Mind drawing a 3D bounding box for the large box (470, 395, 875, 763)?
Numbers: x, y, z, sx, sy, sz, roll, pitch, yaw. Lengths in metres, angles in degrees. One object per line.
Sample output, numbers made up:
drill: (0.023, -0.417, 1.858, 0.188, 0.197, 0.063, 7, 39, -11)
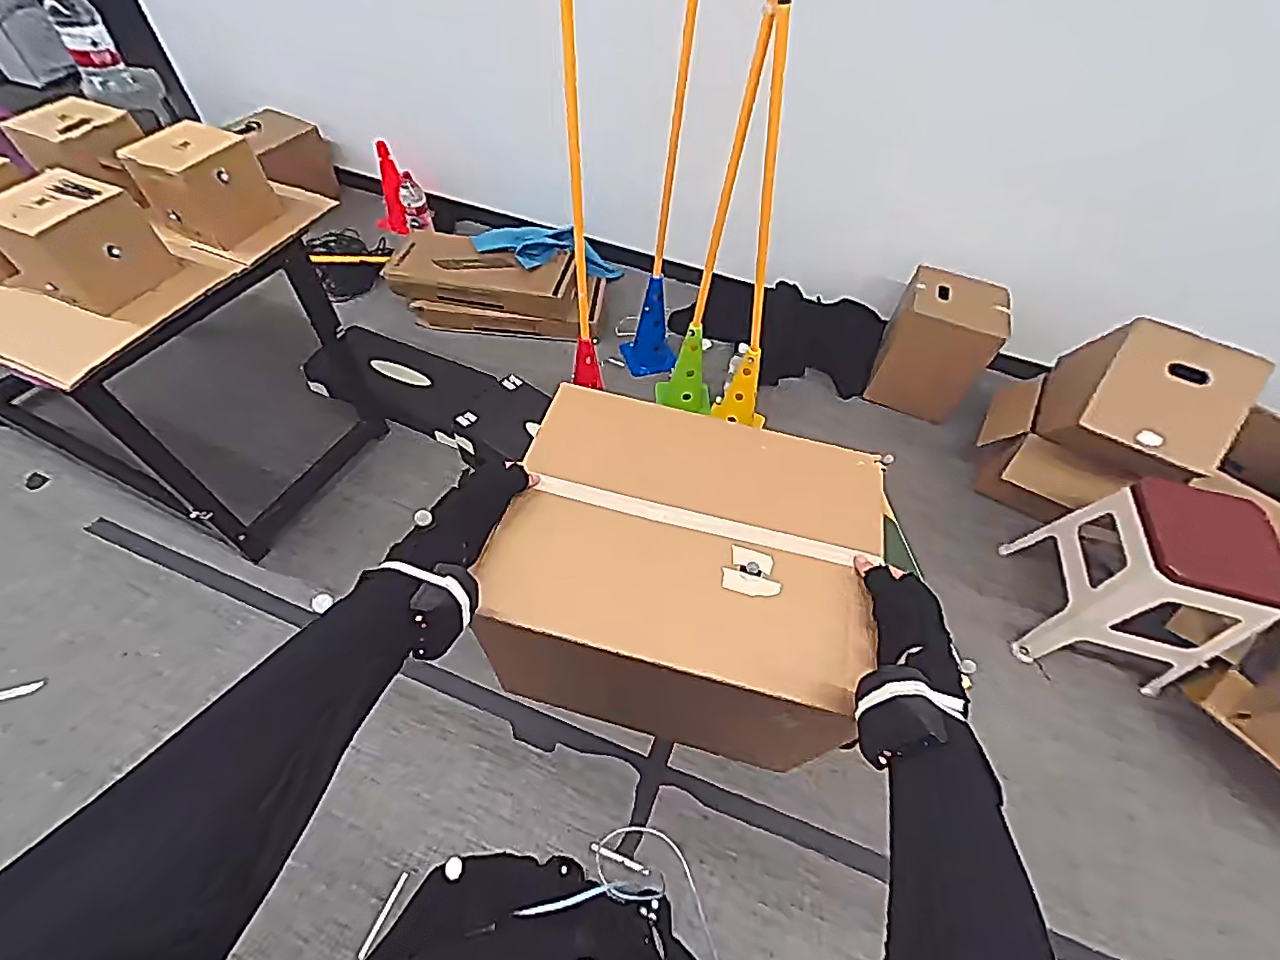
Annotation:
large box: (0.046, 0.138, 0.716, 0.408, 0.320, 0.320, 14, 56, 5)
